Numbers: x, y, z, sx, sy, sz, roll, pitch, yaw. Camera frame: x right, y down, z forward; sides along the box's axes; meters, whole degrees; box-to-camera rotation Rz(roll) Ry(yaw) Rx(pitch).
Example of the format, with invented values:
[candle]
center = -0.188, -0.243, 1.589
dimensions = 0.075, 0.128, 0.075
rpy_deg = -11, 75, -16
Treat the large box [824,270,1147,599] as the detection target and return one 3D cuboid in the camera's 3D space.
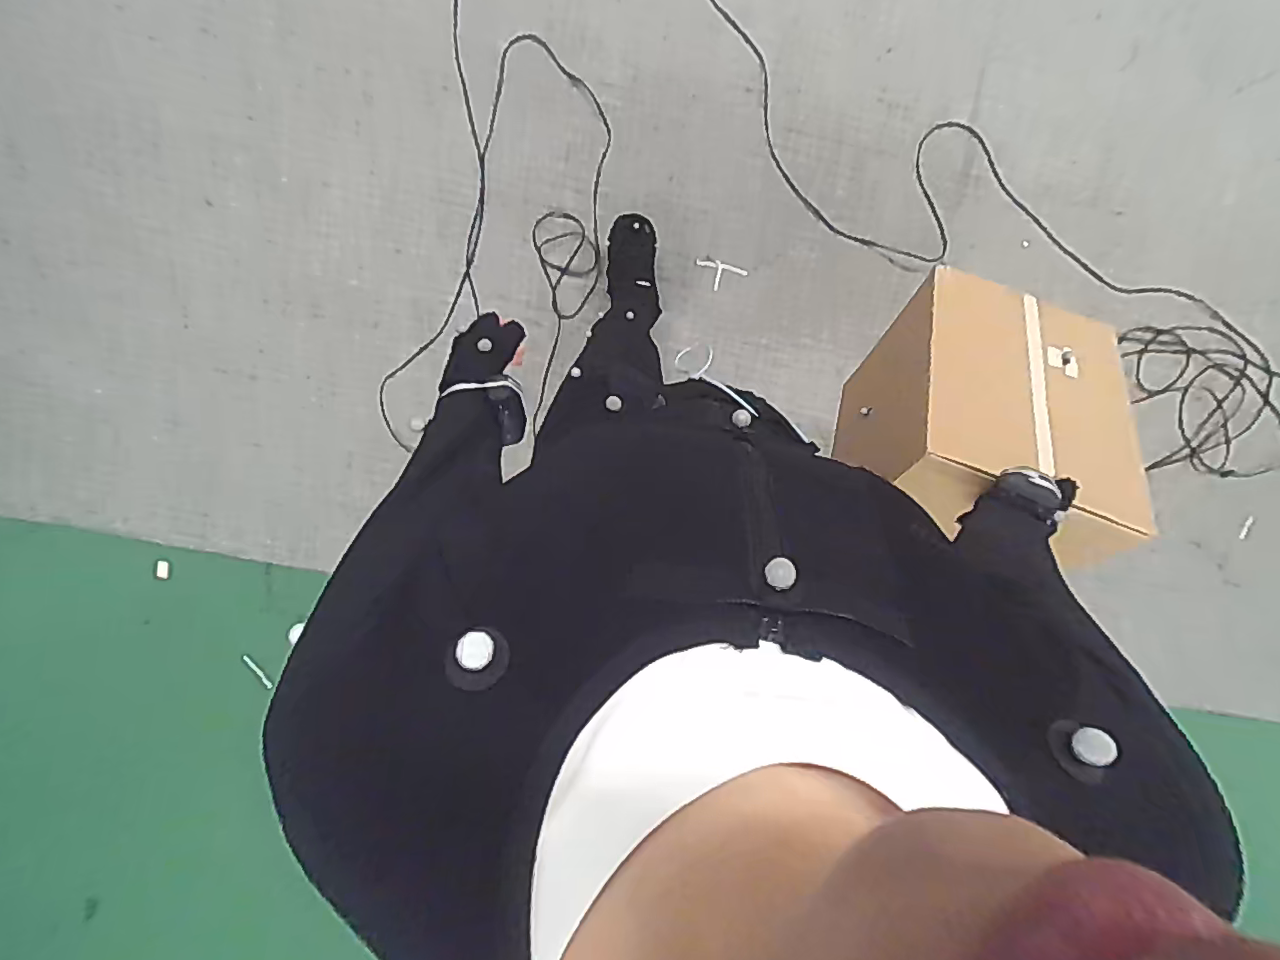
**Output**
[large box]
center = 0.543, -0.066, 0.922
dimensions = 0.320, 0.320, 0.408
rpy_deg = 21, 59, 0
